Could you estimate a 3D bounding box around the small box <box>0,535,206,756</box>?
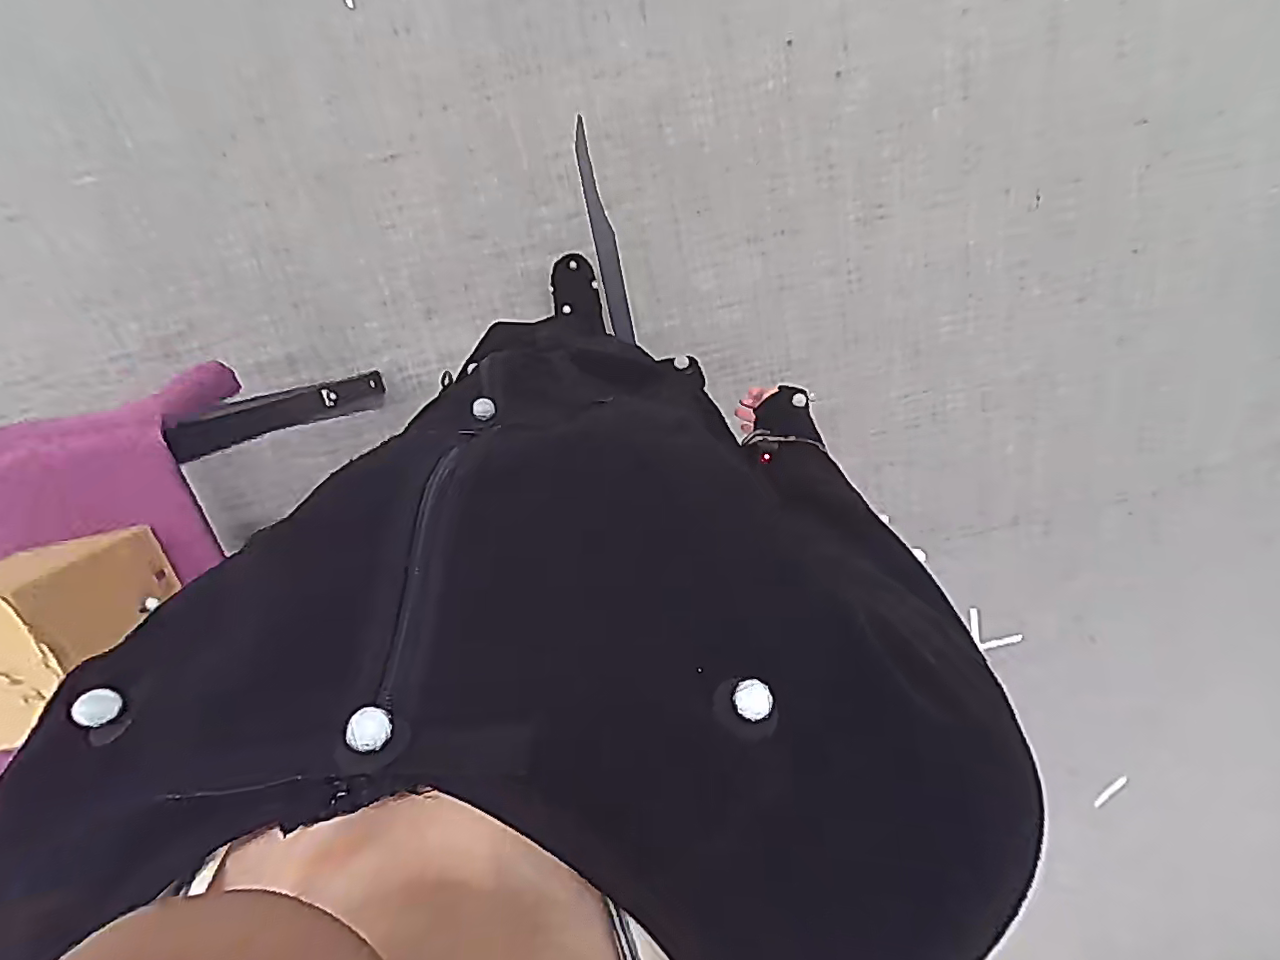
[{"bbox_3d":[-0.657,0.180,0.608,0.179,0.176,0.168,-12,109,1],"label":"small box"}]
